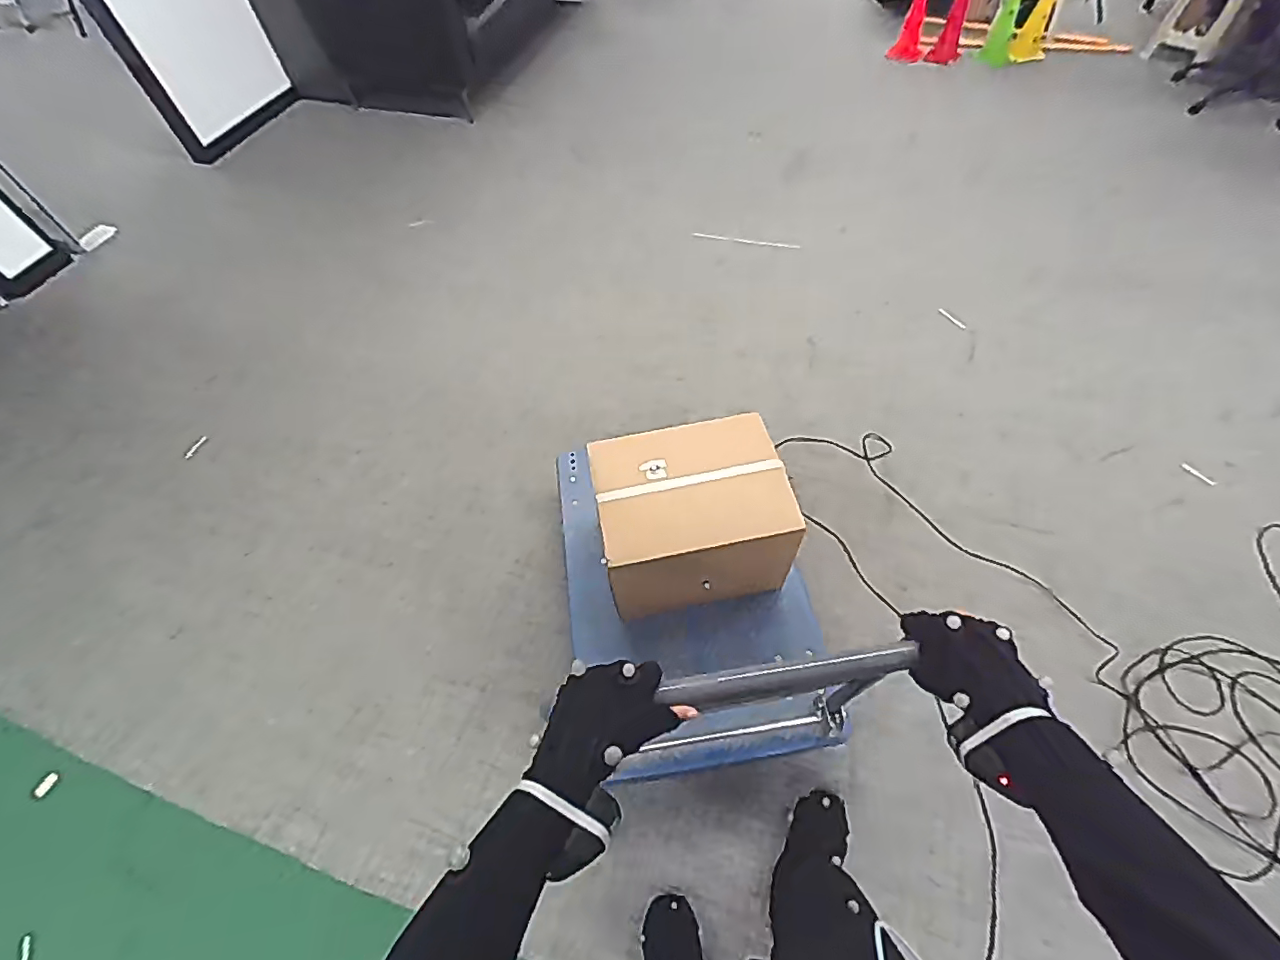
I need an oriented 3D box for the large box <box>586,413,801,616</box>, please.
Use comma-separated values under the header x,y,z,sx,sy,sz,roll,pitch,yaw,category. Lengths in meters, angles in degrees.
x,y,z,sx,sy,sz,roll,pitch,yaw,category
0.111,0.089,1.271,0.408,0.320,0.320,-12,57,-3,large box
